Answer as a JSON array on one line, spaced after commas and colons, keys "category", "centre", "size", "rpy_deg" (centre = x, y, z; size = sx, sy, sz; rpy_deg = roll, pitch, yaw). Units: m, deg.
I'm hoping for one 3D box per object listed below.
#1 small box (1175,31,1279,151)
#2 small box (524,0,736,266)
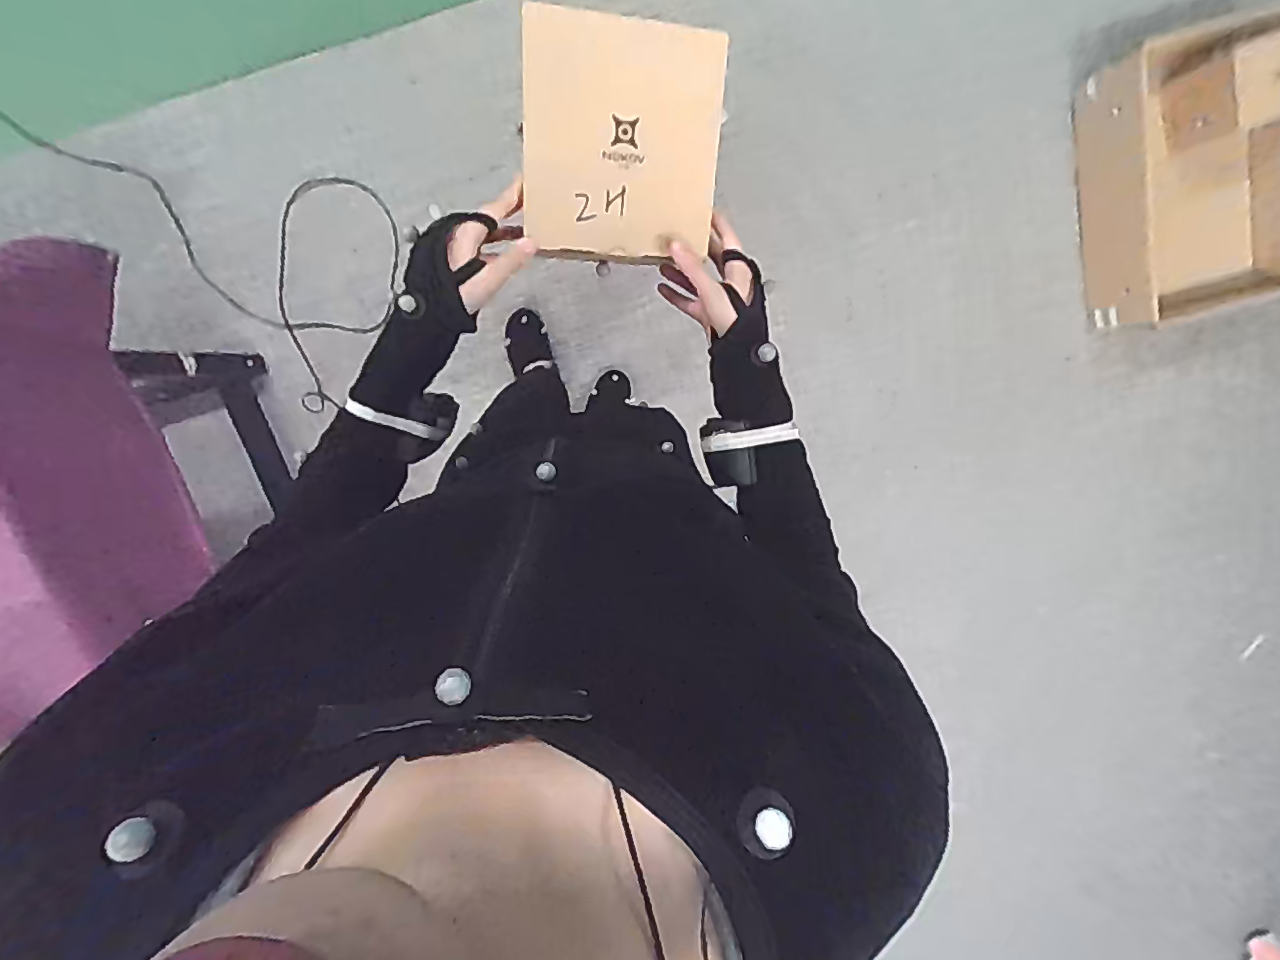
[{"category": "small box", "centre": [1.361, -0.875, 1.215], "size": [0.179, 0.176, 0.168], "rpy_deg": [-18, 102, 3]}, {"category": "small box", "centre": [-0.022, -0.309, 0.518], "size": [0.168, 0.176, 0.179], "rpy_deg": [2, 110, -9]}]
